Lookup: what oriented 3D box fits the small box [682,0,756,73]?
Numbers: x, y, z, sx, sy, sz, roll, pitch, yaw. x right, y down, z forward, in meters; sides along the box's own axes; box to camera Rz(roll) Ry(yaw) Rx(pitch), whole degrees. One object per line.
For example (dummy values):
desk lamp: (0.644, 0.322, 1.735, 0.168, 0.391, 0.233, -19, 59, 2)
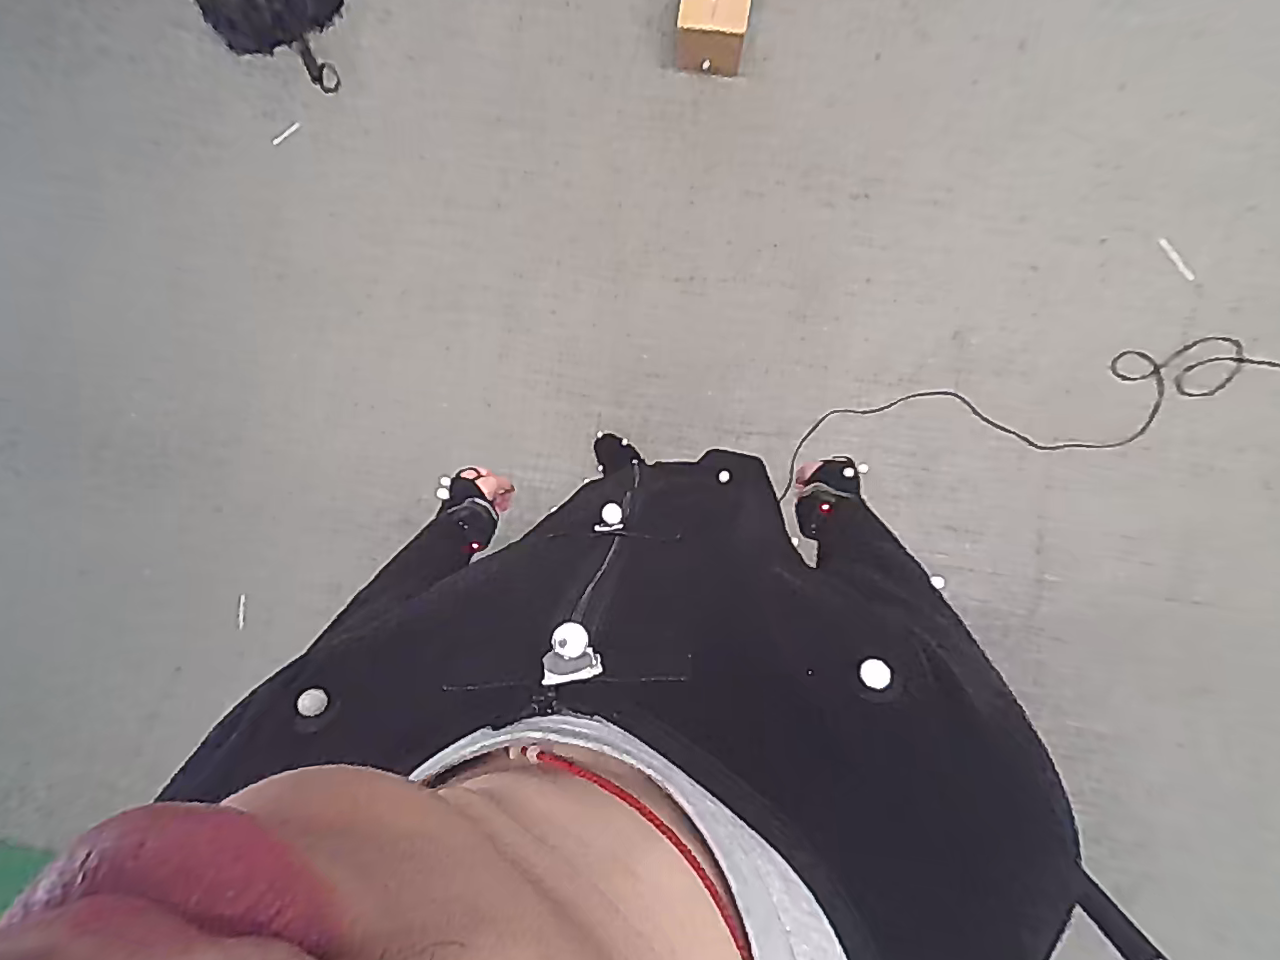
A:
small box: (0.198, -1.157, 1.332, 0.168, 0.176, 0.179, 10, 97, 5)
